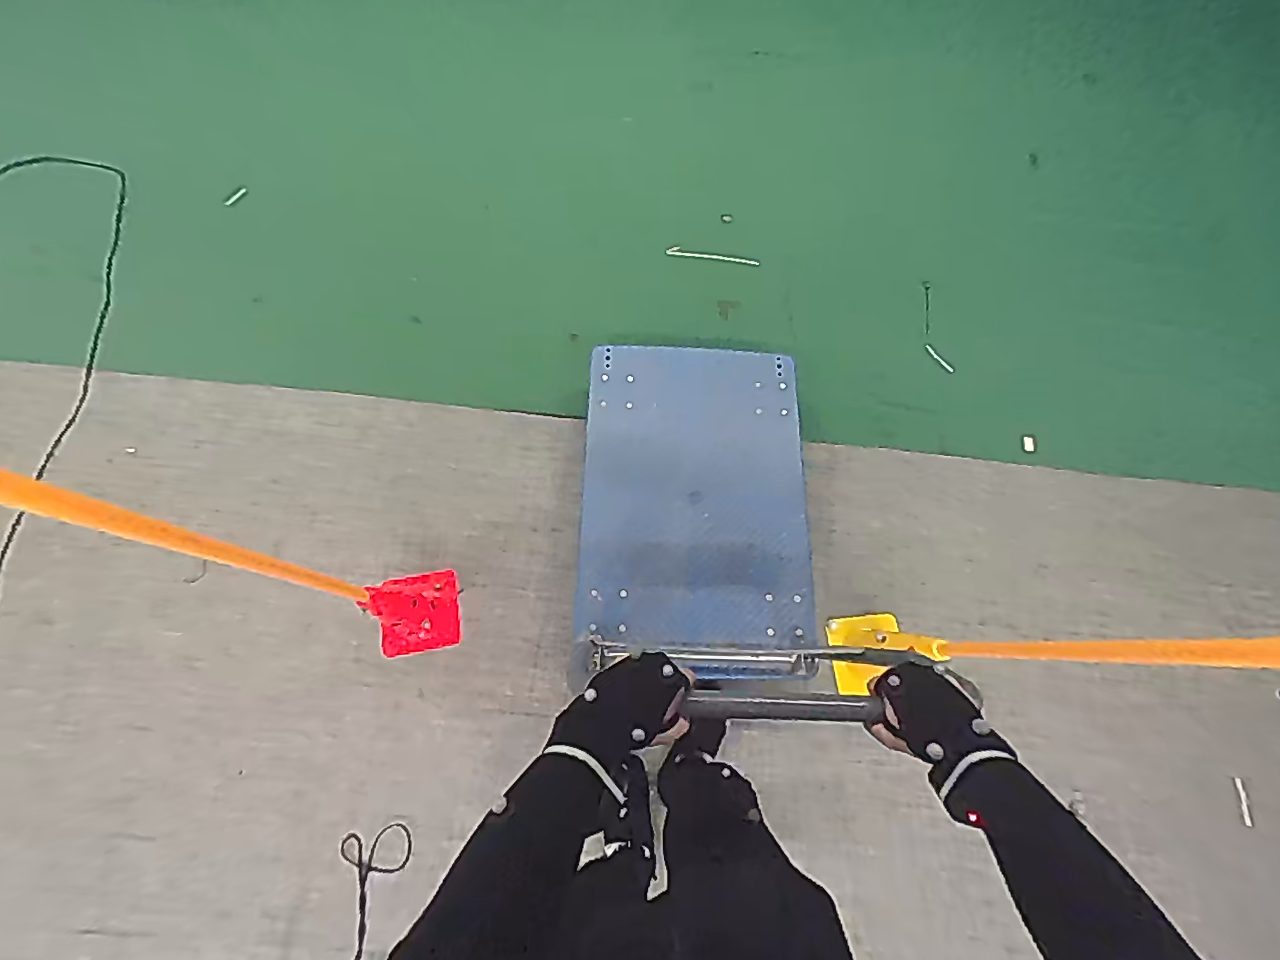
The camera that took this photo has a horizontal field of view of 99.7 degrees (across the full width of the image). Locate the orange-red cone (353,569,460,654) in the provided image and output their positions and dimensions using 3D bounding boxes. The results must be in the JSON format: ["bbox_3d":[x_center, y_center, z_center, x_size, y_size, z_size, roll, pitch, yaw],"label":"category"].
[{"bbox_3d":[-0.563,0.284,1.241,0.199,0.360,0.198,-9,72,-5],"label":"orange-red cone"}]
